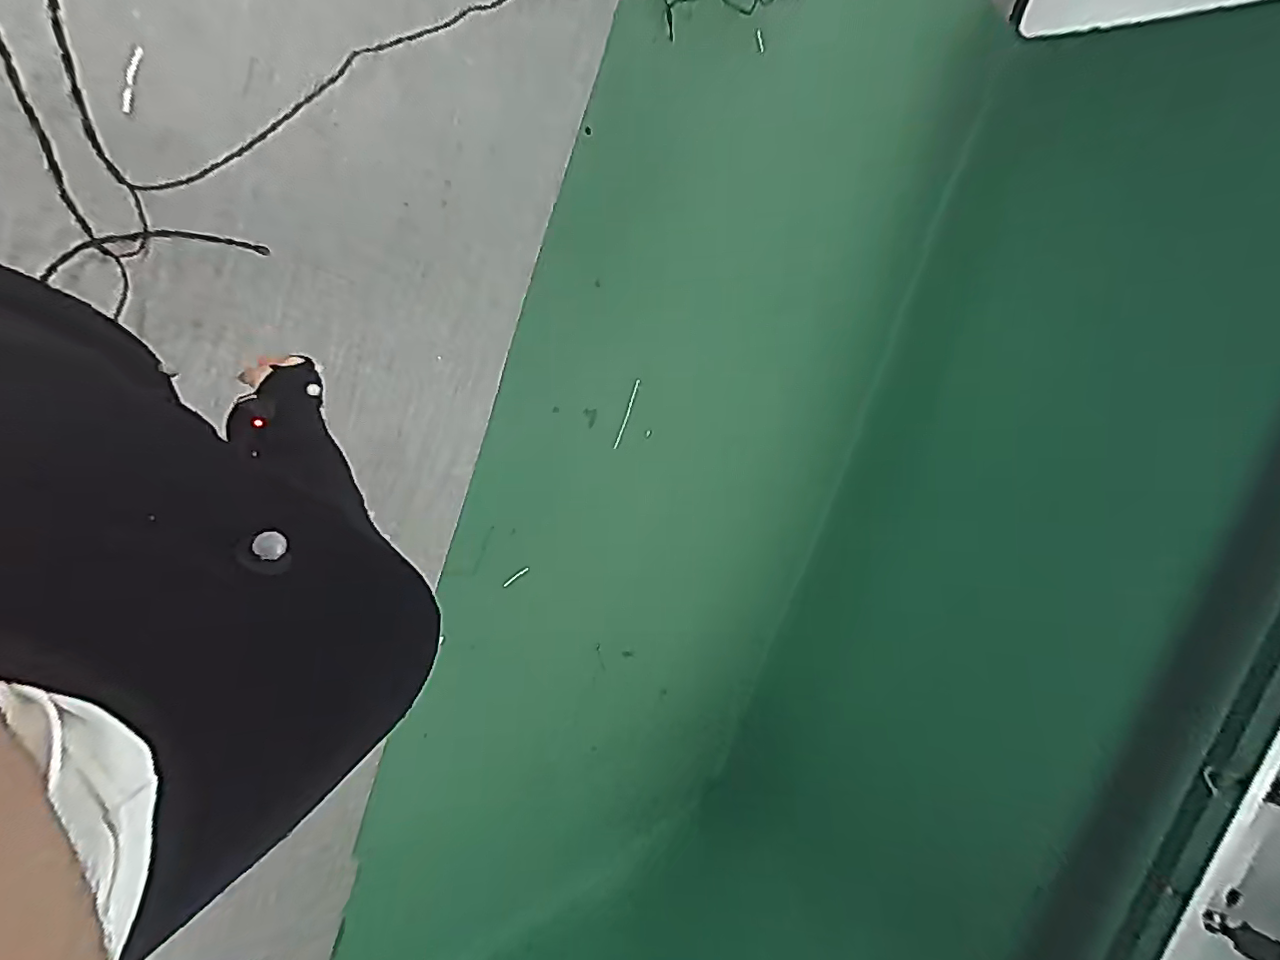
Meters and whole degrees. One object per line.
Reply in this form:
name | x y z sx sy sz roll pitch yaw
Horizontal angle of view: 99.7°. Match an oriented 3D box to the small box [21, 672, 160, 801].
small box | -1.166 0.531 1.148 0.179 0.176 0.168 14 98 -51
